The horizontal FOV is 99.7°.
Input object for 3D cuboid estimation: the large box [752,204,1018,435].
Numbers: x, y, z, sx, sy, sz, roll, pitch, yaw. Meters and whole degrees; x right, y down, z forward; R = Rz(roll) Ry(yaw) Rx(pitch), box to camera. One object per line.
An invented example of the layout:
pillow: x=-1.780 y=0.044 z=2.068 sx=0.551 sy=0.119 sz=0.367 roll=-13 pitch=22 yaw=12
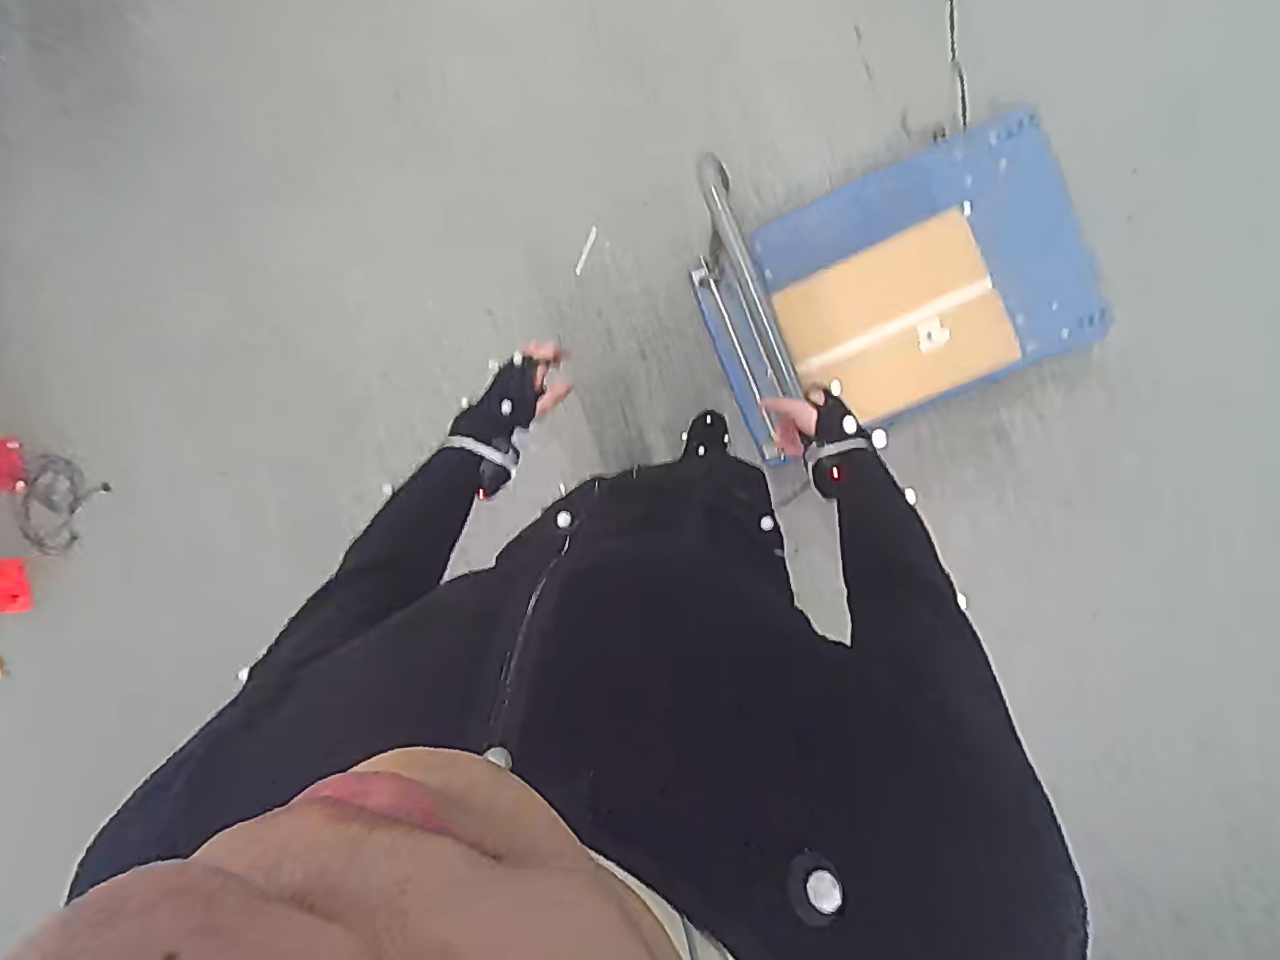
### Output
large box: x=0.504 y=-0.321 z=1.207 sx=0.408 sy=0.320 sz=0.320 roll=-24 pitch=94 yaw=8
